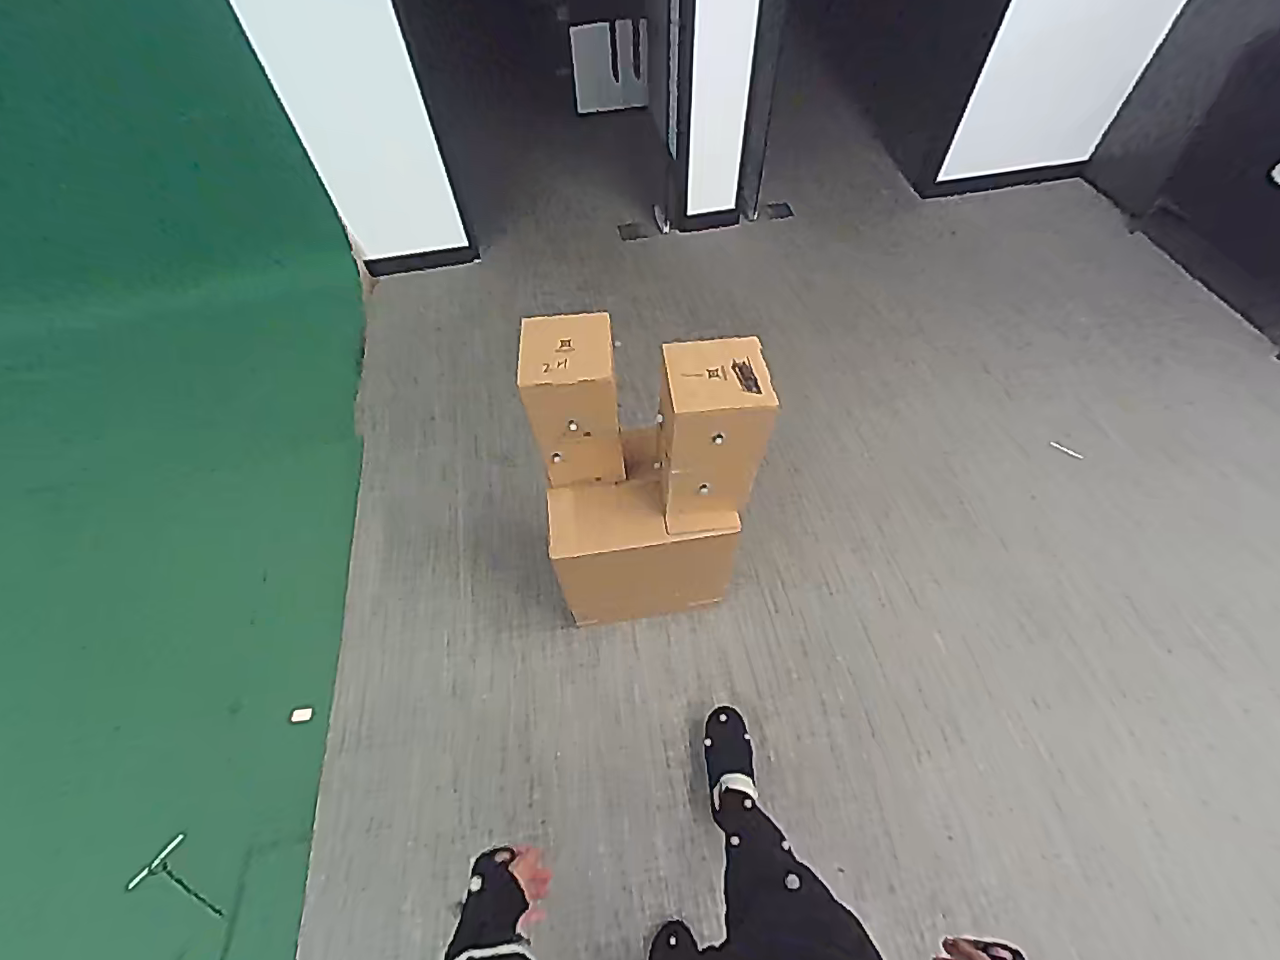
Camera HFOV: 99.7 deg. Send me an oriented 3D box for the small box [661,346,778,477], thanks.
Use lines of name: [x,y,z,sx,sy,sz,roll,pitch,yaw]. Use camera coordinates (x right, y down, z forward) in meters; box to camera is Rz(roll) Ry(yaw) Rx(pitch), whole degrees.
small box: [0.135,-0.122,0.991,0.179,0.176,0.168,-6,56,-2]

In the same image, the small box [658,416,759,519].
small box: [0.135,-0.030,1.126,0.179,0.176,0.168,-7,58,-2]

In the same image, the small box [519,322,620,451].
small box: [-0.129,-0.178,1.043,0.168,0.176,0.179,-5,56,1]
